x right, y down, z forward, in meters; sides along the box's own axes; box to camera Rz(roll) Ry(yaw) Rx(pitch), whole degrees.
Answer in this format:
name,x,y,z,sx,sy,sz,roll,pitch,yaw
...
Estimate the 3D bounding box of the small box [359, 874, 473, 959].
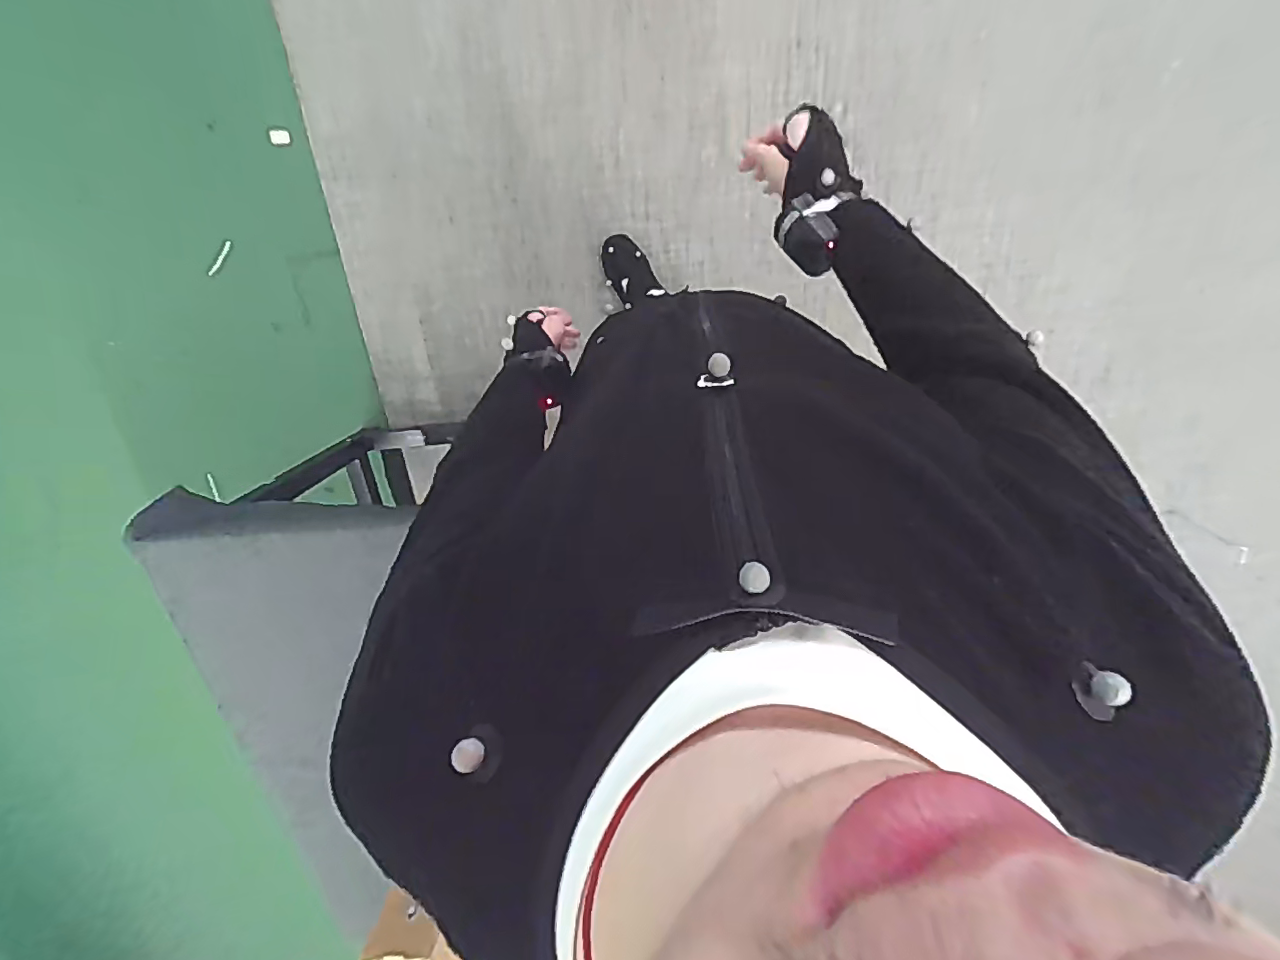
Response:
name,x,y,z,sx,sy,sz,roll,pitch,yaw
small box,-0.505,1.045,1.246,0.168,0.176,0.179,-5,111,6
